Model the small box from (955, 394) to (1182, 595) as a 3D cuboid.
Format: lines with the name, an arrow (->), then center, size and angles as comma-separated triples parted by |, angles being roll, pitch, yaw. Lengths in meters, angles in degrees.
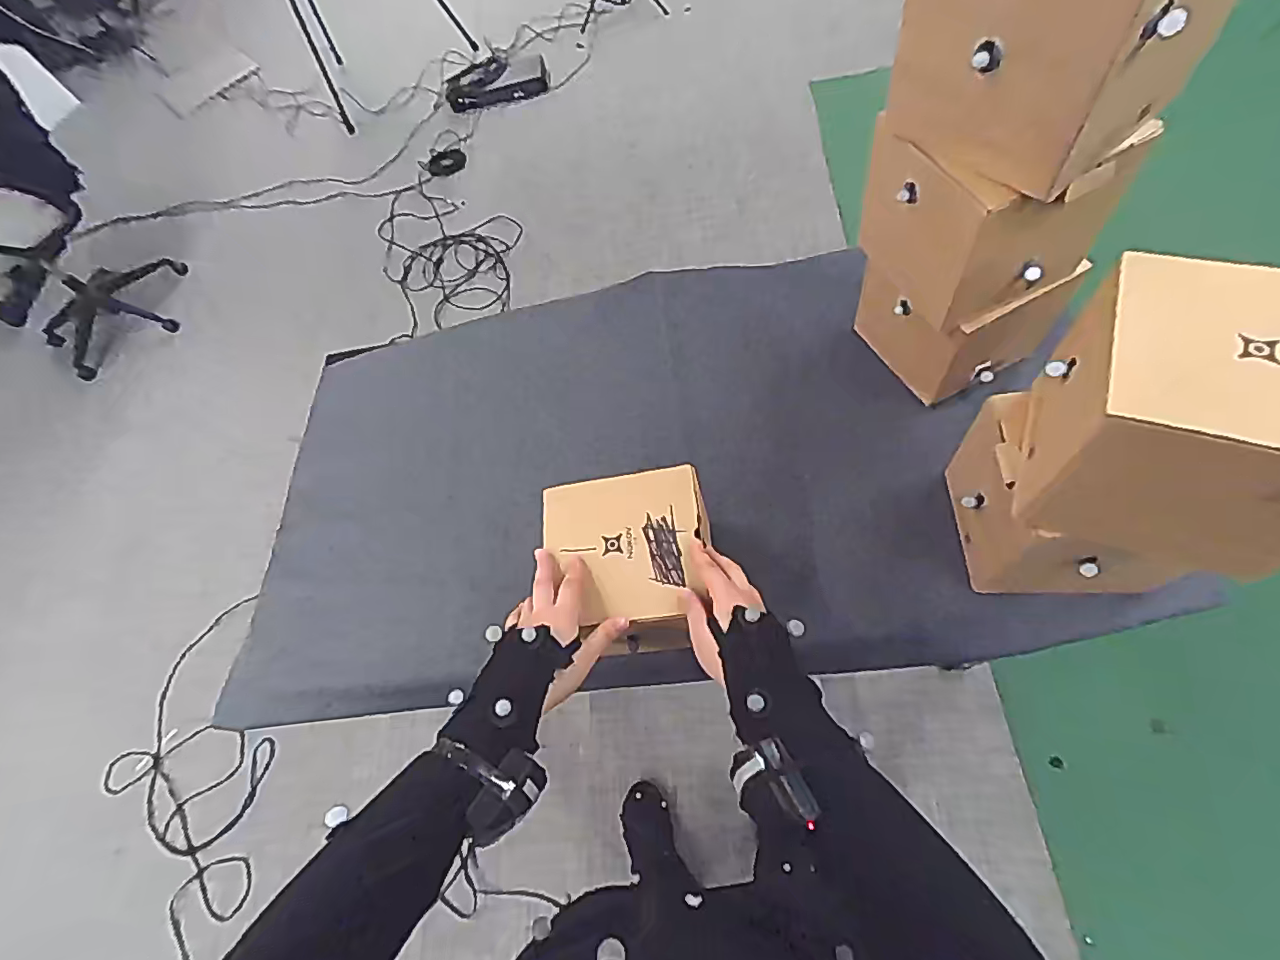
small box -> 0.459, 0.021, 0.576 | 0.179, 0.176, 0.168 | -3, 61, 12

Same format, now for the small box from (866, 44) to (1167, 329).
small box -> 0.362, -0.298, 0.570 | 0.168, 0.176, 0.179 | -25, 62, 3

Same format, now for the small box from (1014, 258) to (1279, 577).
small box -> 0.432, -0.043, 0.427 | 0.179, 0.176, 0.168 | 18, 66, 20

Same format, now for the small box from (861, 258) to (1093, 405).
small box -> 0.417, -0.233, 0.712 | 0.168, 0.176, 0.179 | -29, 64, 1

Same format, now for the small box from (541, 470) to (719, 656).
small box -> -0.003, 0.107, 0.638 | 0.179, 0.176, 0.168 | -9, 62, 10
